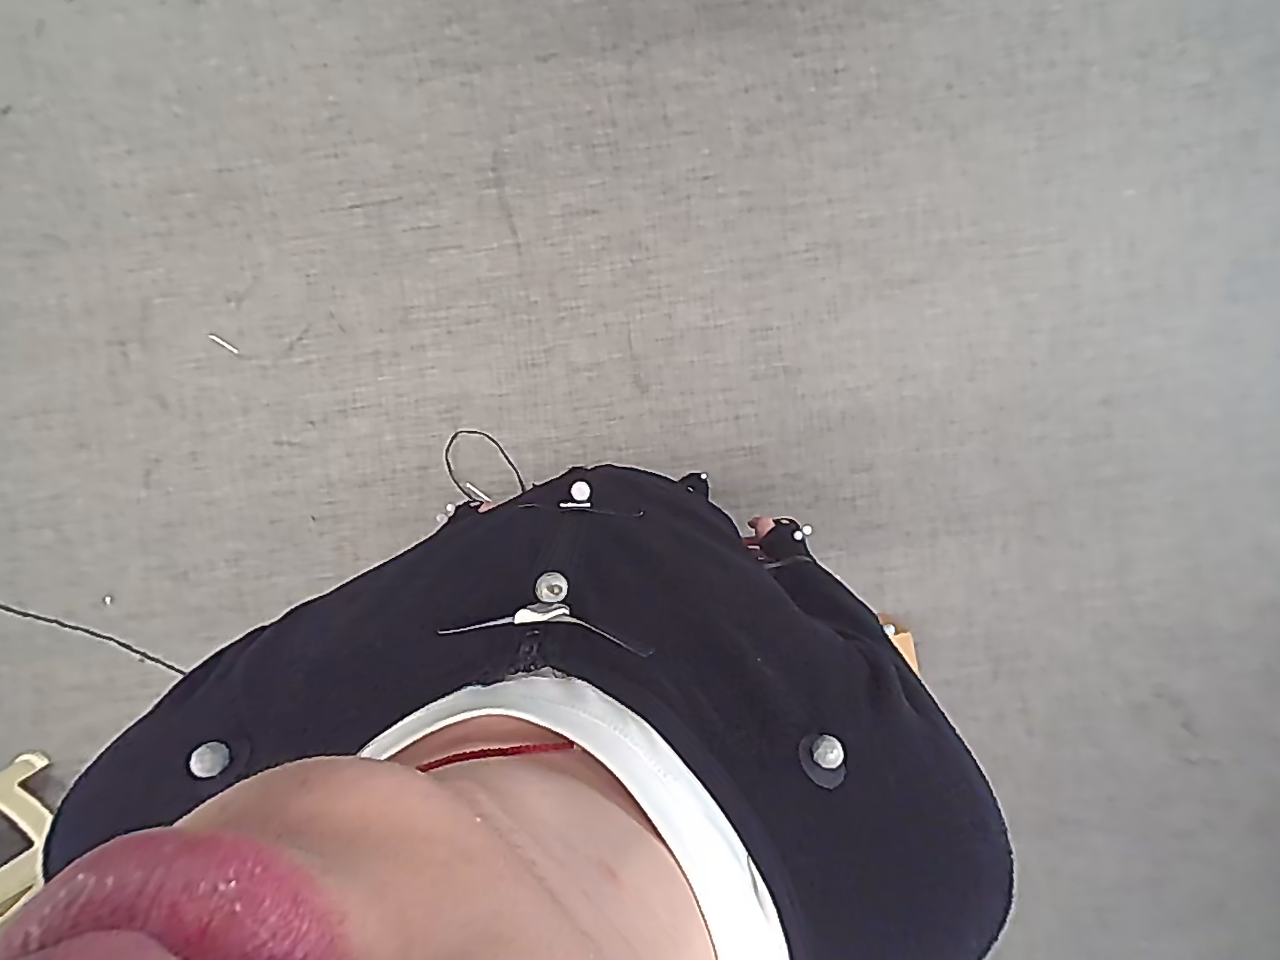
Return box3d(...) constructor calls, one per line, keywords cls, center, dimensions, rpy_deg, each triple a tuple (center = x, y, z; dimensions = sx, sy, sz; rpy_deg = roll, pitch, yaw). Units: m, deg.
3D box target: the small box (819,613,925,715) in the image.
box3d(cls="small box", center=(0.628, 0.496, 1.488), dimensions=(0.179, 0.176, 0.168), rpy_deg=(-41, 93, 2))
